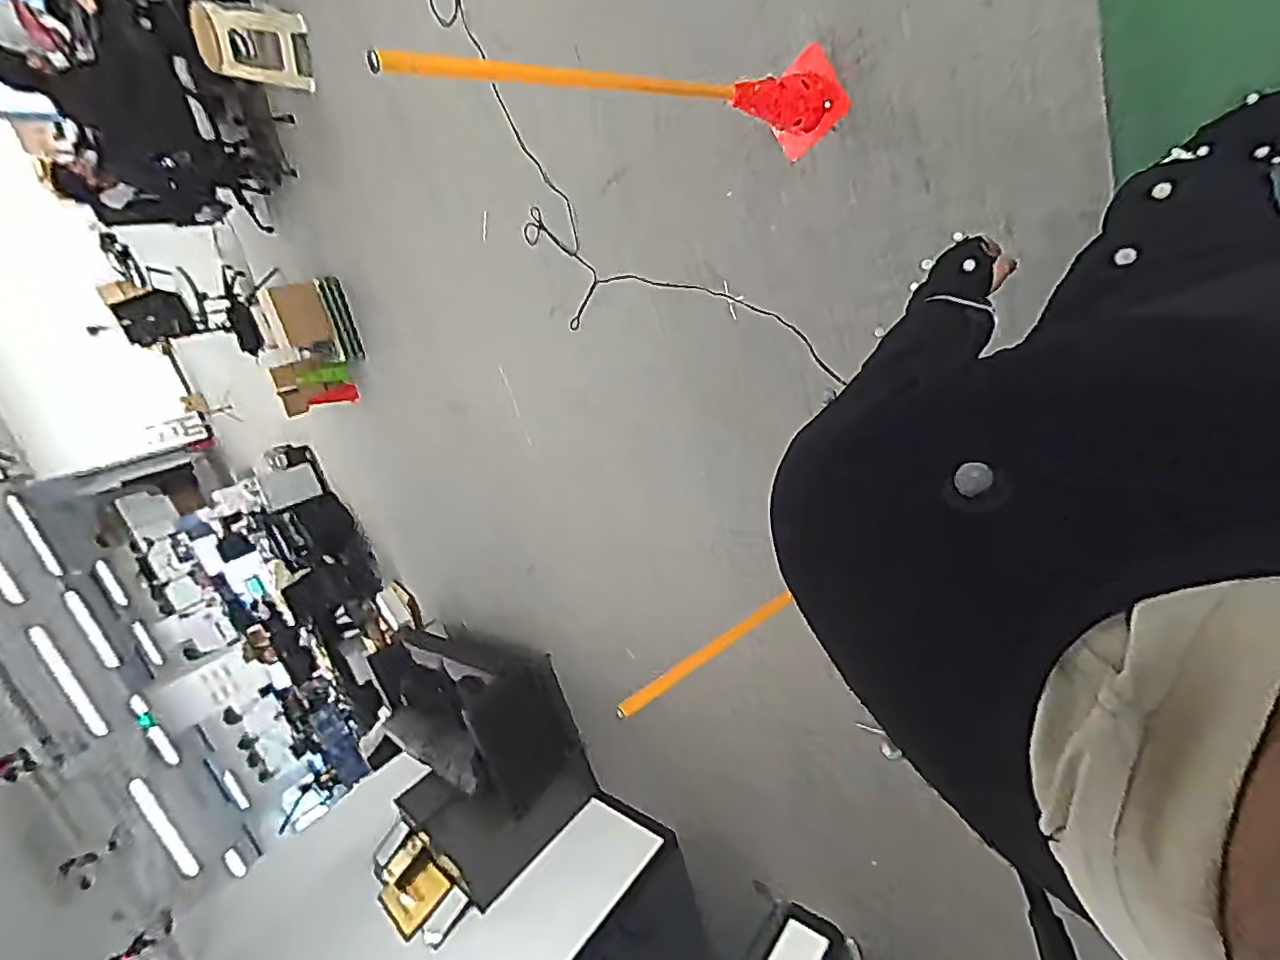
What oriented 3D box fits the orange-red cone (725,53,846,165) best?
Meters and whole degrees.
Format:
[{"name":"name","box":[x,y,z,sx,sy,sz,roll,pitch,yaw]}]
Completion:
[{"name":"orange-red cone","box":[0.328,-0.942,1.358,0.198,0.360,0.199,-26,91,49]}]
